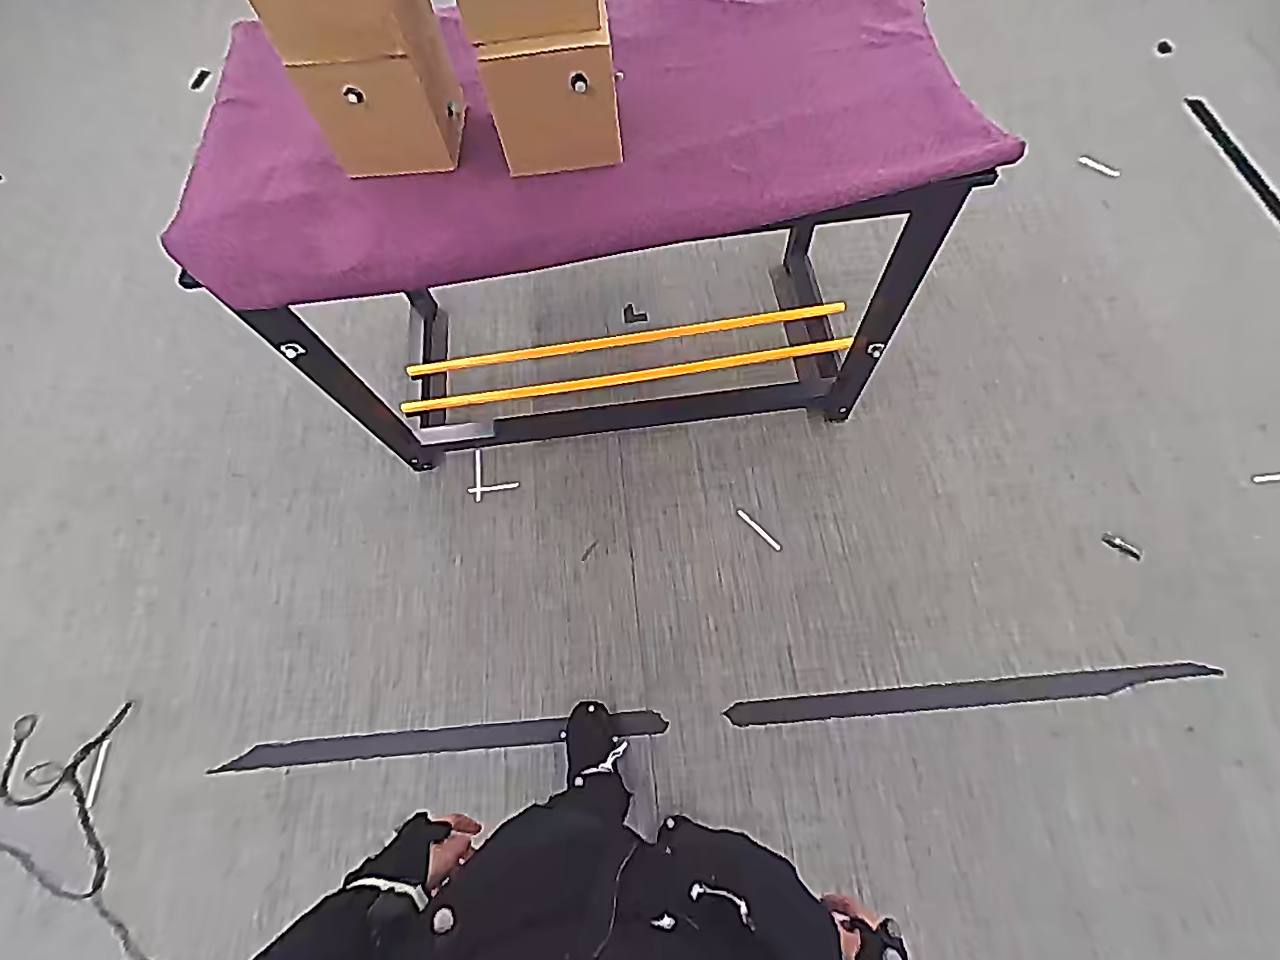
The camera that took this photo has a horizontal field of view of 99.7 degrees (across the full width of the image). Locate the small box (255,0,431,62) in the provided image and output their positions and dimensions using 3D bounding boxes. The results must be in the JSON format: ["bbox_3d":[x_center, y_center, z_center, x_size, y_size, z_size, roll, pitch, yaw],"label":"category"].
[{"bbox_3d":[-0.382,-0.661,0.674,0.179,0.176,0.168,1,67,4],"label":"small box"}]

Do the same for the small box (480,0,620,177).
[{"bbox_3d":[-0.124,-0.583,0.801,0.179,0.176,0.168,-6,65,1],"label":"small box"}]
